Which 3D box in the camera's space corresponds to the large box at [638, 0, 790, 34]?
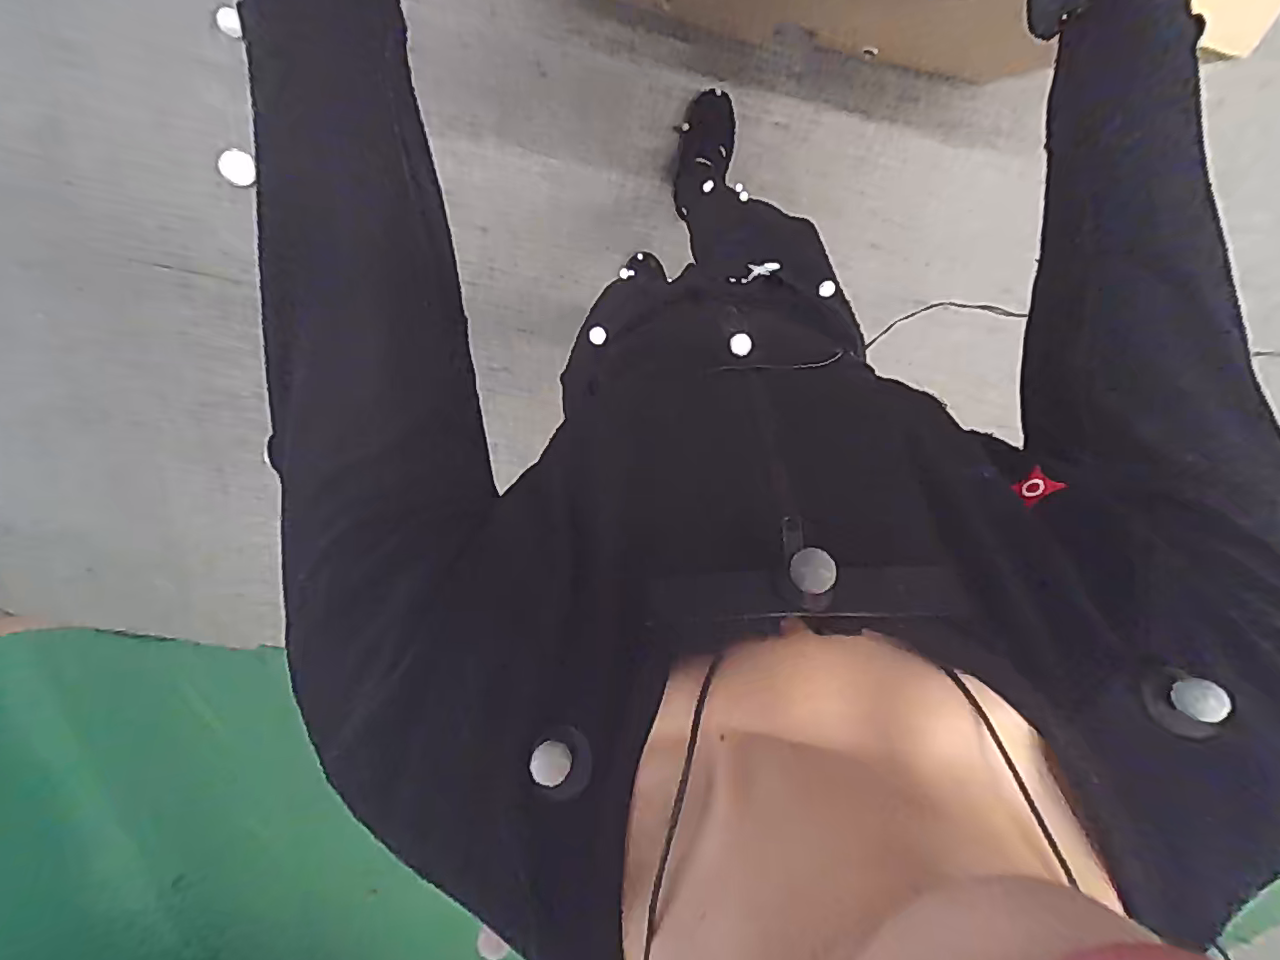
[{"bbox_3d":[0.089,-1.004,0.891,0.408,0.320,0.320,13,118,-5],"label":"large box"}]
